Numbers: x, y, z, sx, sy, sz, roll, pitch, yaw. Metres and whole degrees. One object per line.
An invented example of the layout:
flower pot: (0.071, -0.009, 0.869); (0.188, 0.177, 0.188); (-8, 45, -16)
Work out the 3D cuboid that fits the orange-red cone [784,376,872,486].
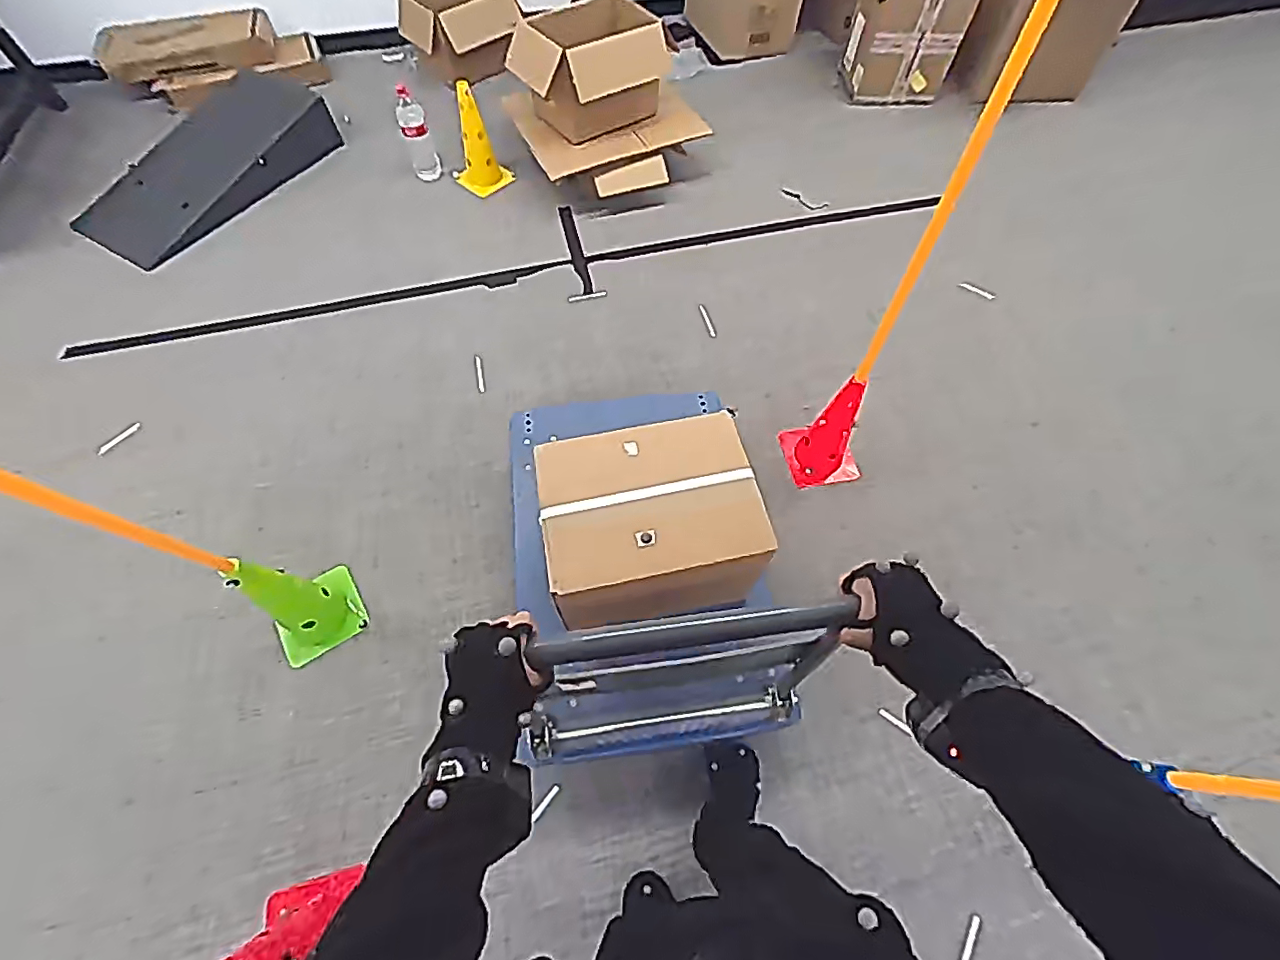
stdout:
orange-red cone: (0.546, -0.156, 1.469); (0.199, 0.360, 0.198); (-6, 61, -5)
